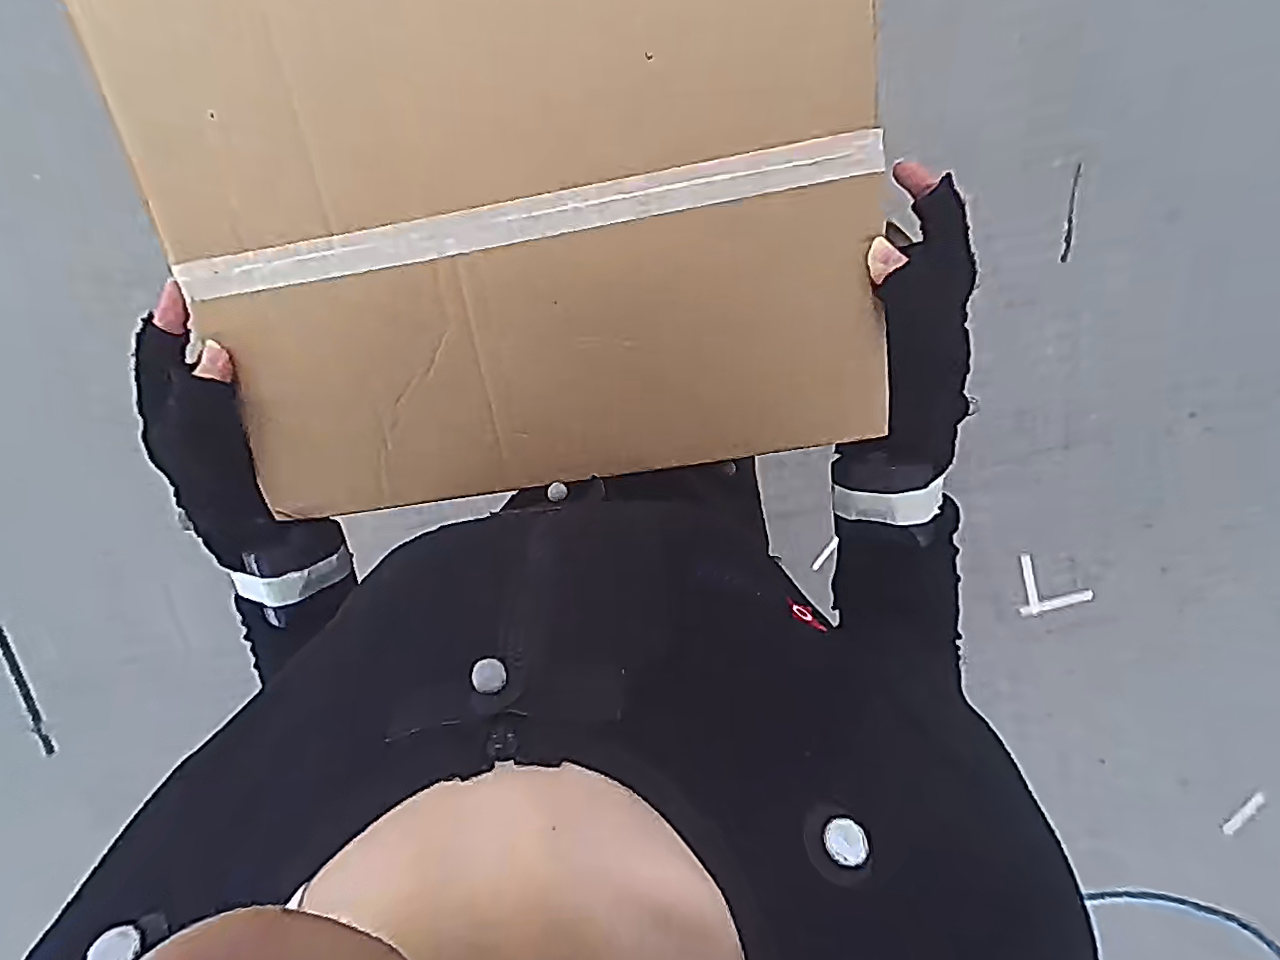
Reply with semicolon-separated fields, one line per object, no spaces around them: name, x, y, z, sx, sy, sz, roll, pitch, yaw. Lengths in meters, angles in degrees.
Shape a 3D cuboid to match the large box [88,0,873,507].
large box;-0.066;-0.202;0.452;0.408;0.320;0.320;-8;108;5
